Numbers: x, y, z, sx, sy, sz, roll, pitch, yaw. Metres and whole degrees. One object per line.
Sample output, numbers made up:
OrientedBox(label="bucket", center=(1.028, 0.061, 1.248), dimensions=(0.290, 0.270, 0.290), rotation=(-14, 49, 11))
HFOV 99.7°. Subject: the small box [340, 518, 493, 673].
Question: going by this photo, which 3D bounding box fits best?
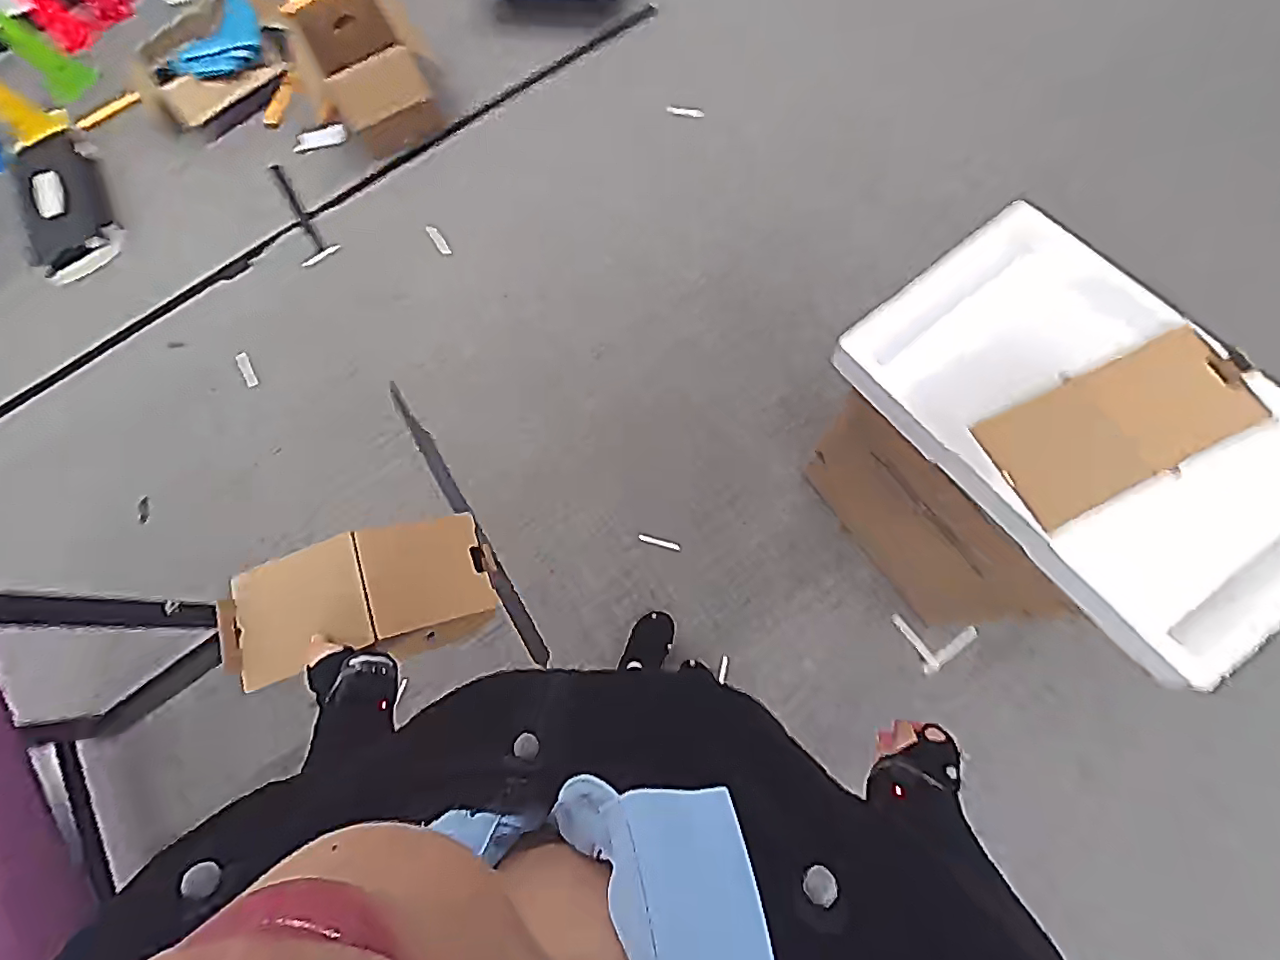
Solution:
OrientedBox(label="small box", center=(-0.353, 0.179, 0.834), dimensions=(0.179, 0.176, 0.168), rotation=(-9, 67, -37))
